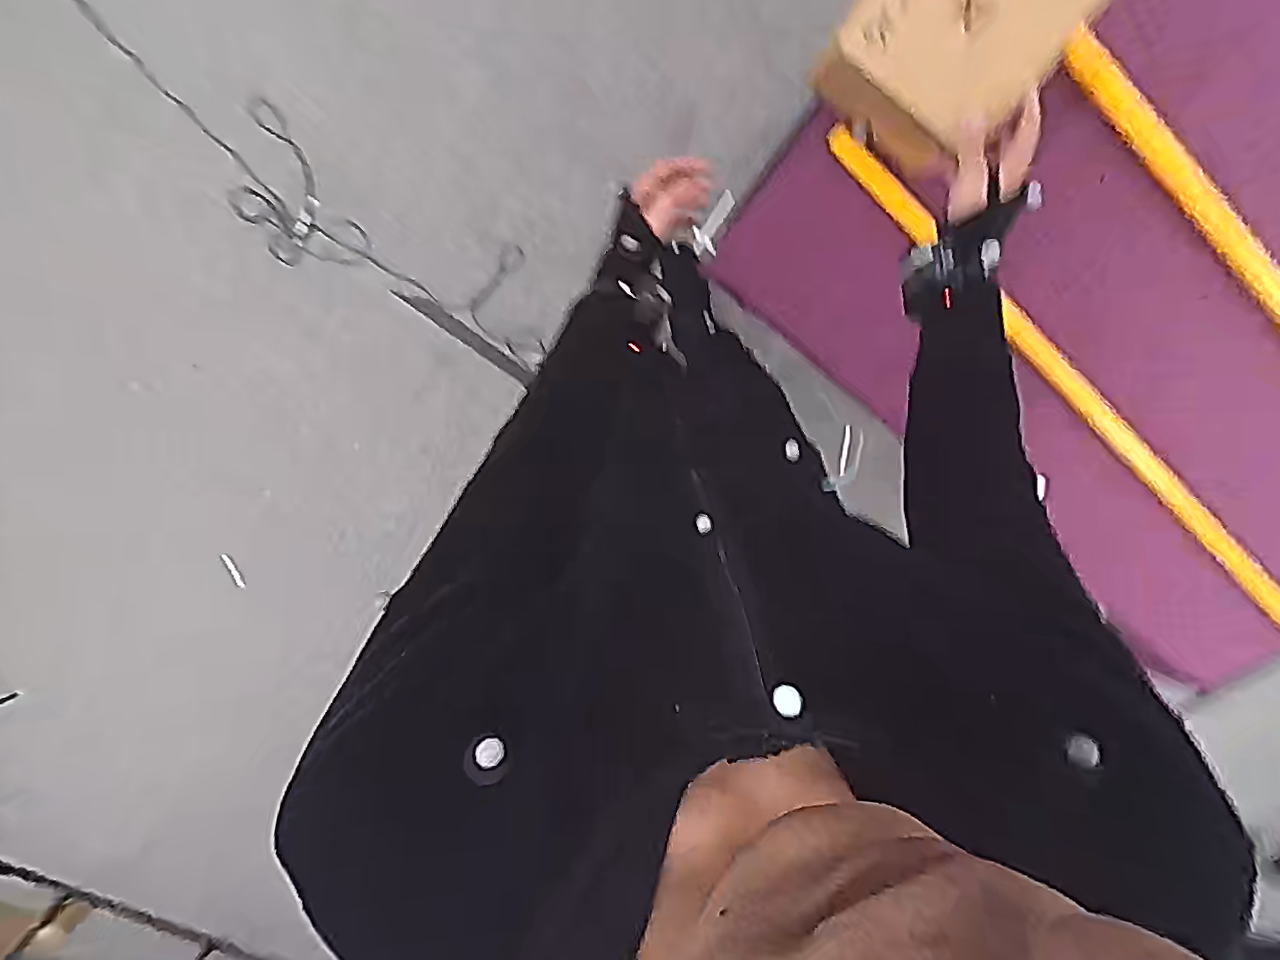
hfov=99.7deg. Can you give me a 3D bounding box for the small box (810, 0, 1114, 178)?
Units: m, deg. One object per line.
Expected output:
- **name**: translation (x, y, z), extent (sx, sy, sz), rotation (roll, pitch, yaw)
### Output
- **small box**: translation (0.307, -0.442, 0.557), extent (0.179, 0.176, 0.168), rotation (33, 114, -11)
